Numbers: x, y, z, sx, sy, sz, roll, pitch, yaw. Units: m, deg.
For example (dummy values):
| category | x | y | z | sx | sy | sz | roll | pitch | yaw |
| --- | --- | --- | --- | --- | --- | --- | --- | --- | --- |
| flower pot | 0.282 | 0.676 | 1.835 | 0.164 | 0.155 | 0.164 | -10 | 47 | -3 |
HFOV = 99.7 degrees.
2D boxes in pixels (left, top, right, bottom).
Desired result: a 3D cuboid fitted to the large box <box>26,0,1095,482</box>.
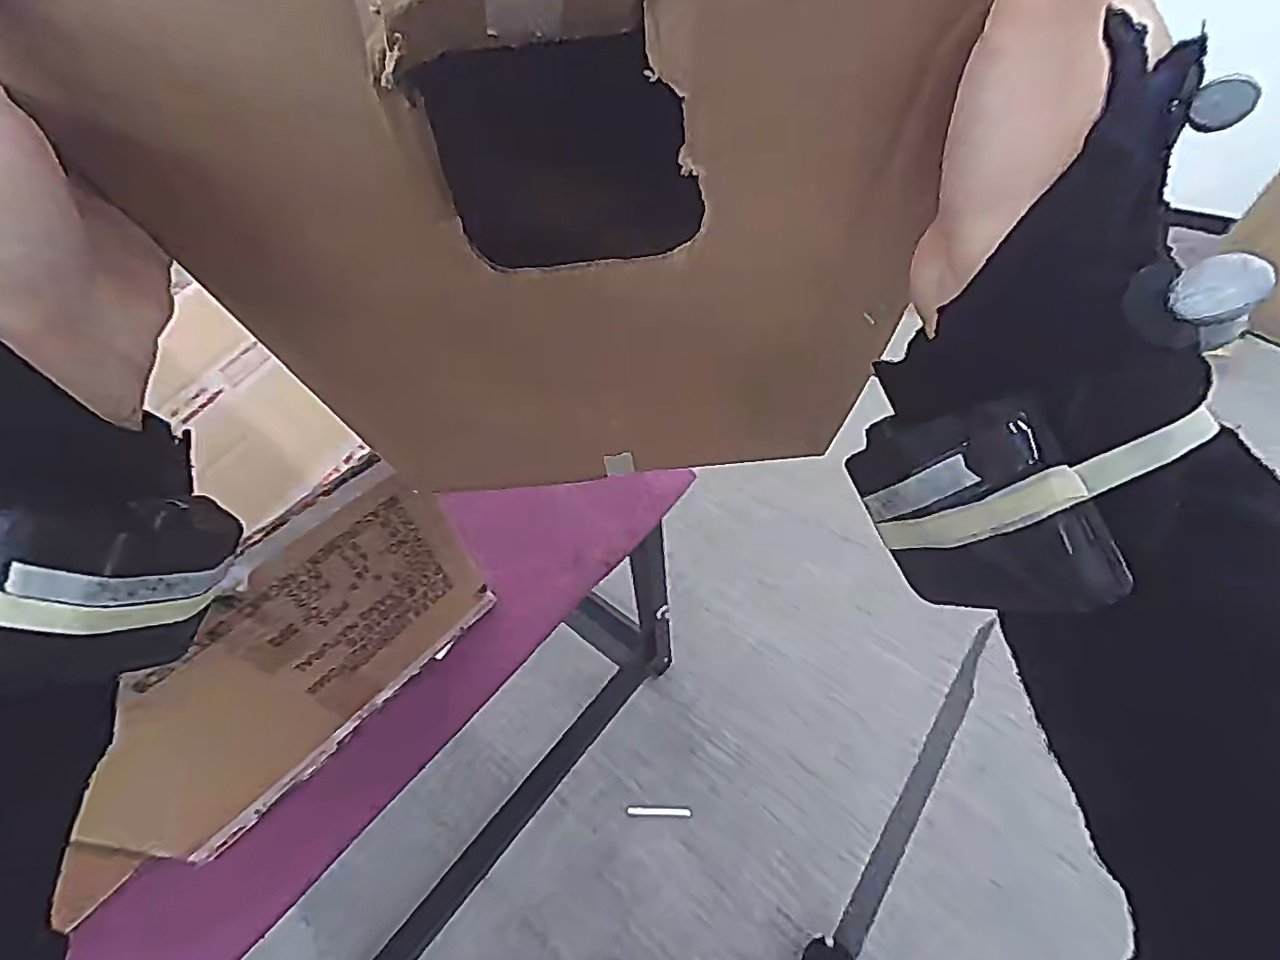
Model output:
| category | x | y | z | sx | sy | sz | roll | pitch | yaw |
| --- | --- | --- | --- | --- | --- | --- | --- | --- | --- |
| large box | -0.026 | -0.253 | 0.359 | 0.320 | 0.320 | 0.408 | -7 | 65 | 1 |
